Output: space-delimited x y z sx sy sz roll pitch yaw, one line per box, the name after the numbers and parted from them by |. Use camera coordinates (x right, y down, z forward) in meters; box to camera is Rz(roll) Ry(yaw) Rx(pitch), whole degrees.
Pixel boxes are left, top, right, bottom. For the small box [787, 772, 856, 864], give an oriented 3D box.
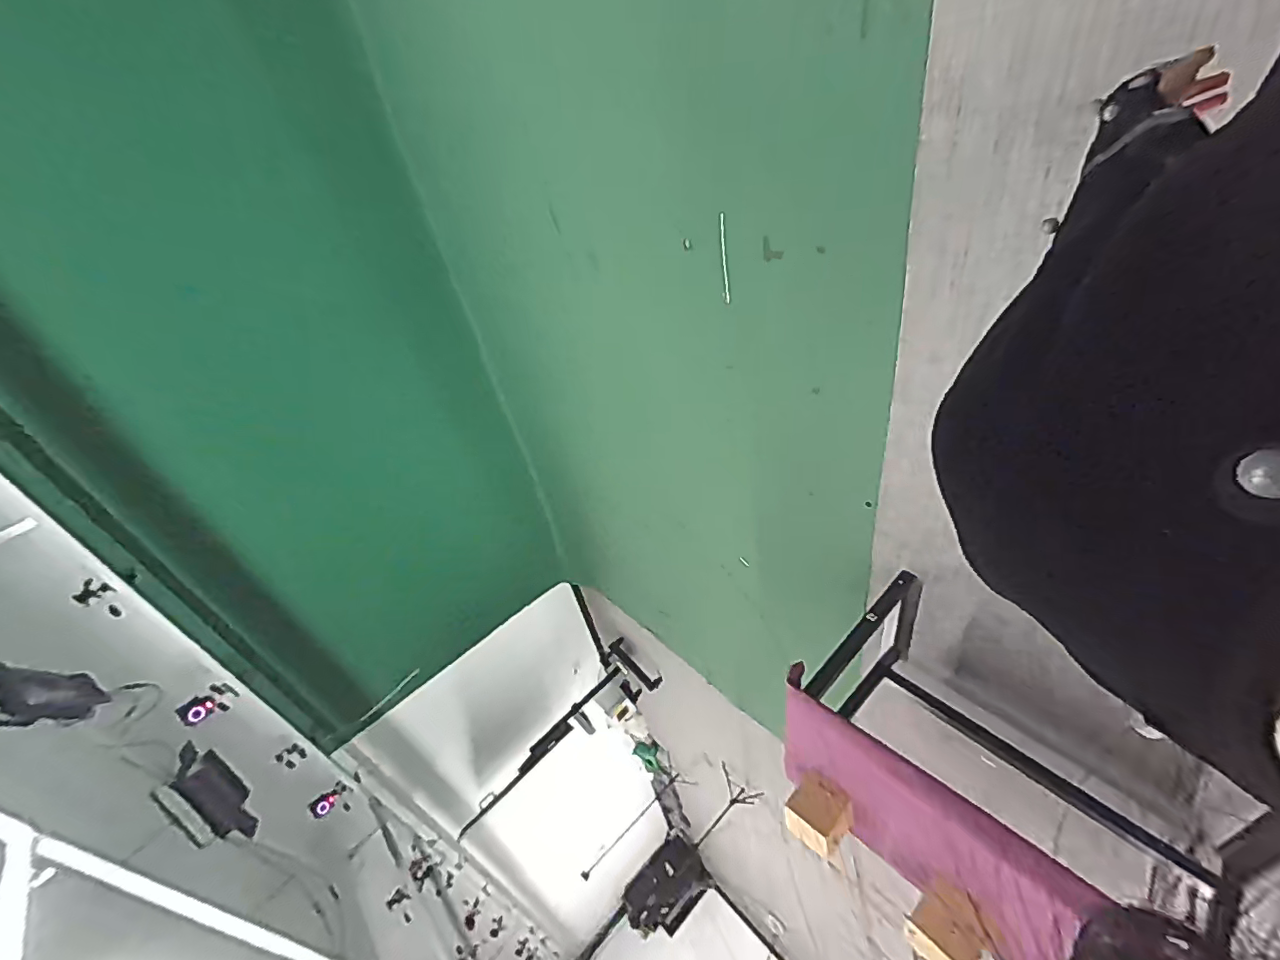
0.630 1.162 1.867 0.168 0.176 0.179 23 138 43 | small box

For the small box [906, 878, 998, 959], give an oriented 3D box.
0.922 1.337 1.599 0.179 0.176 0.168 28 141 40 | small box
